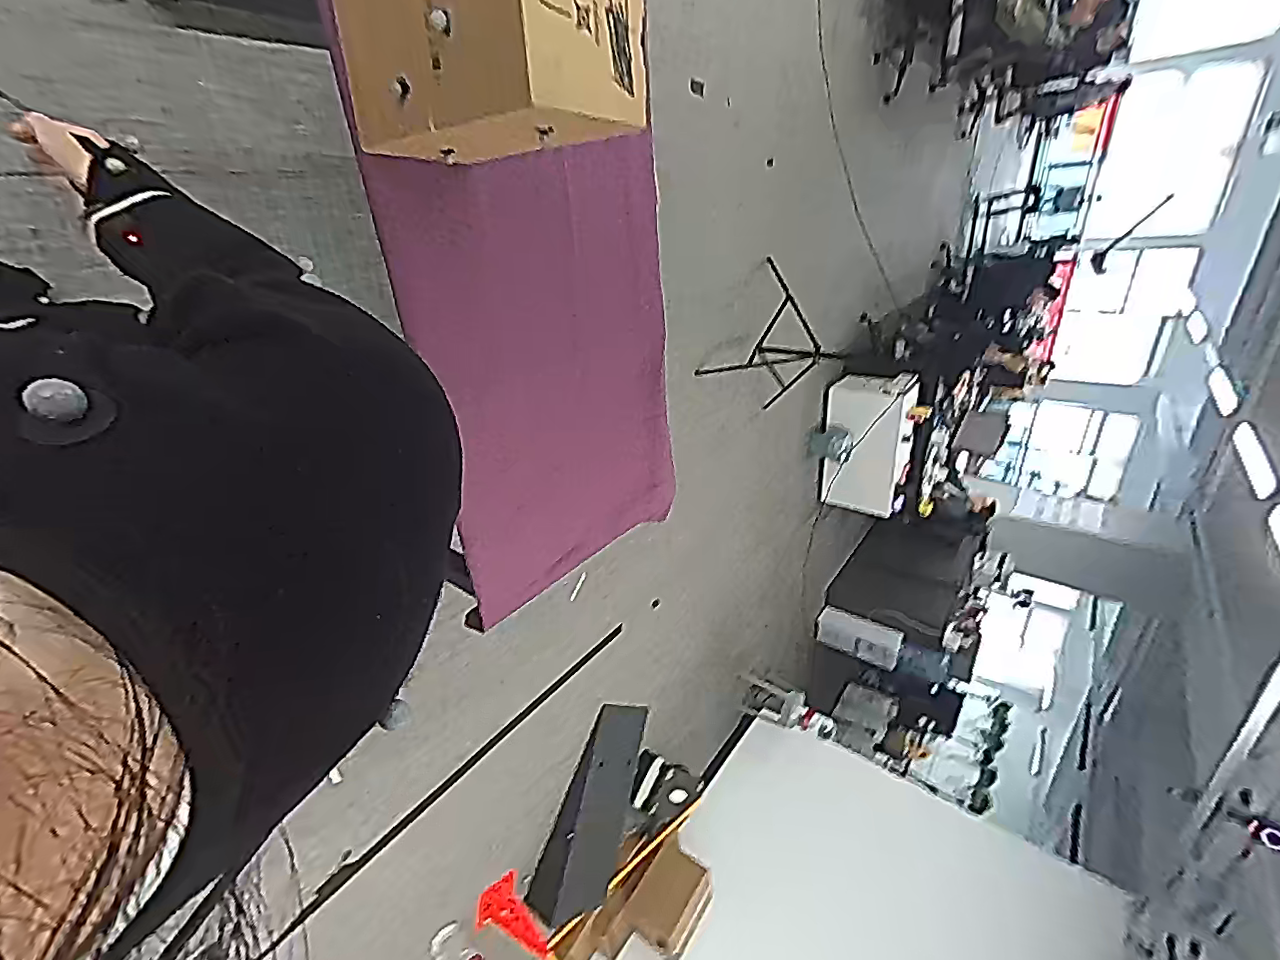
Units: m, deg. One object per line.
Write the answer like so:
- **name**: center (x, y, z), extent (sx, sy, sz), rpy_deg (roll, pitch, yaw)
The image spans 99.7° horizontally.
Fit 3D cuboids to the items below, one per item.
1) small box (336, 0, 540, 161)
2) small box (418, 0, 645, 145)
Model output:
- **small box**: center (-0.247, -0.512, 0.676), extent (0.168, 0.176, 0.179), rpy_deg (-28, 124, -46)
- **small box**: center (-0.113, -0.475, 0.587), extent (0.179, 0.176, 0.168), rpy_deg (-28, 124, -44)
